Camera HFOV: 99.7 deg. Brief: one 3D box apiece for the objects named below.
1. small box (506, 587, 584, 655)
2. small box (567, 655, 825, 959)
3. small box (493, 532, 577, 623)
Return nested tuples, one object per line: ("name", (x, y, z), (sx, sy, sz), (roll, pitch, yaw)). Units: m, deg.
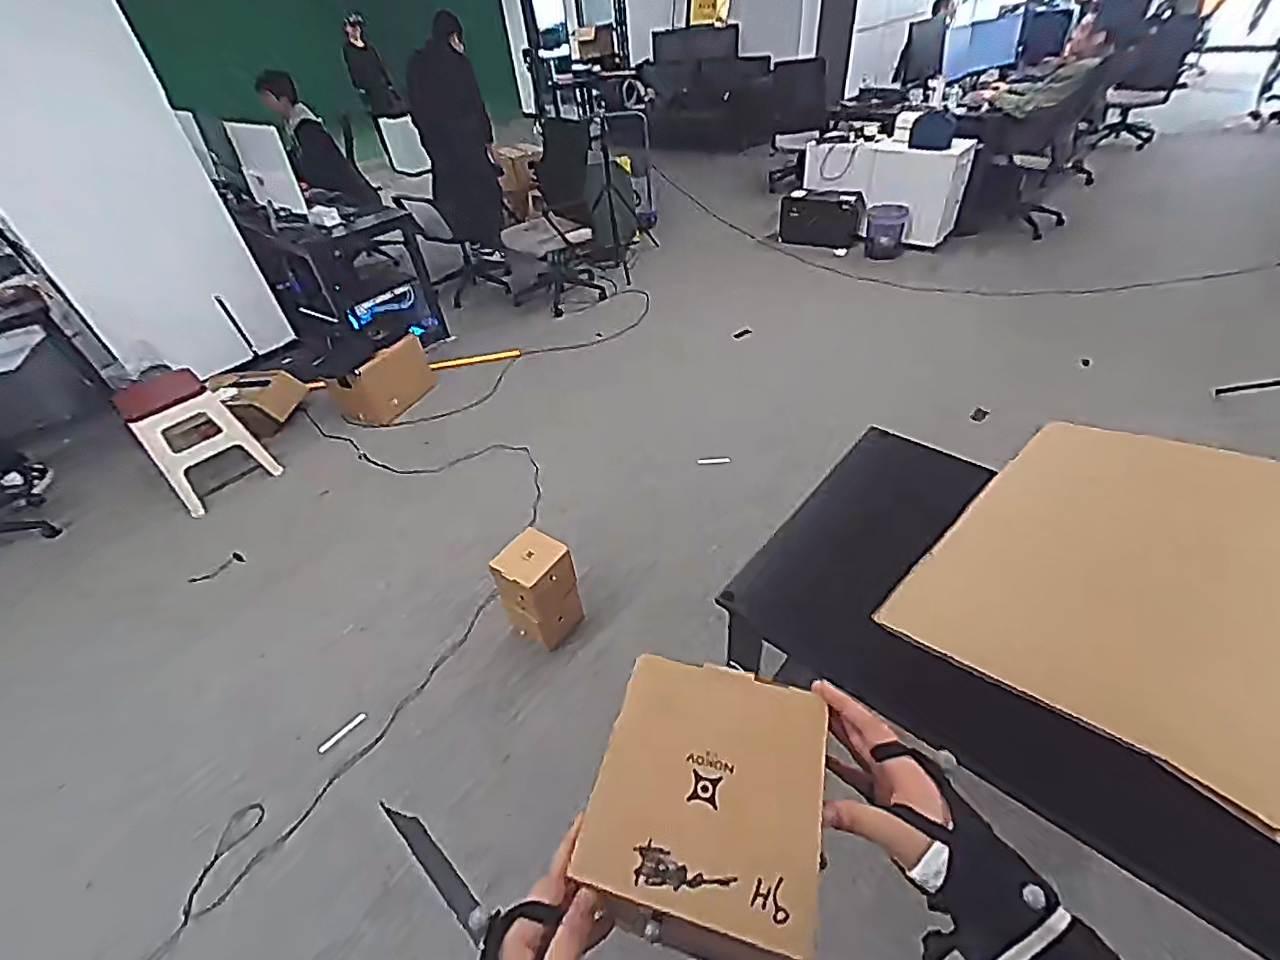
("small box", (-0.297, 0.419, 1.730), (0.168, 0.176, 0.179), (24, 51, 30))
("small box", (0.057, 0.286, 0.463), (0.168, 0.176, 0.179), (7, 43, 17))
("small box", (-0.308, 0.295, 1.627), (0.168, 0.176, 0.179), (22, 48, 28))
